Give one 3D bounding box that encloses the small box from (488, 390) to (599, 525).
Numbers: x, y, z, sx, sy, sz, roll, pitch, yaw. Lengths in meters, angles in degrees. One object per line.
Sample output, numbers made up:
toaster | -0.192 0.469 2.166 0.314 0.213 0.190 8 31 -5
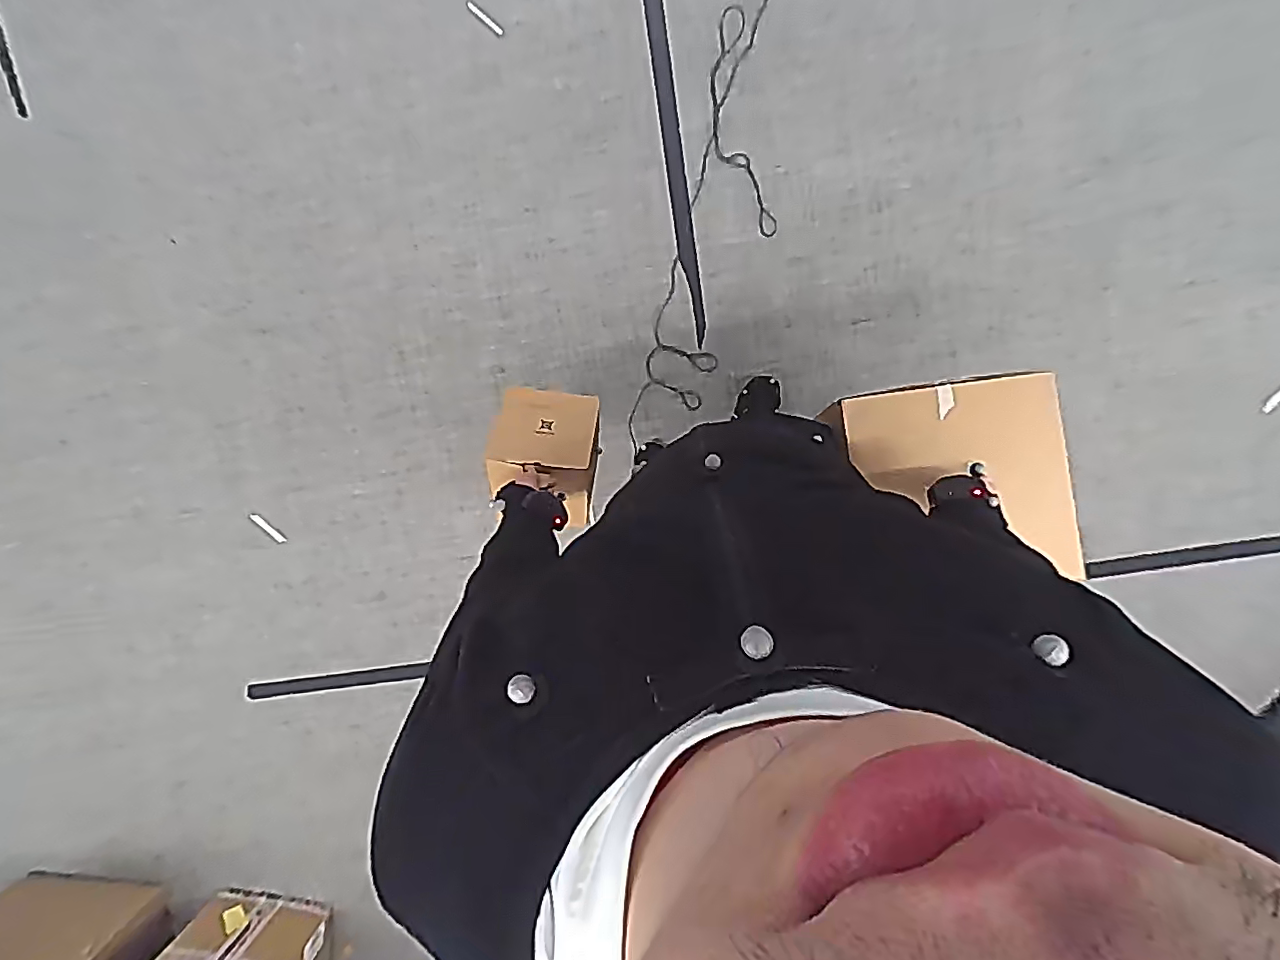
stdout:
small box | -0.167 -0.037 0.984 0.168 0.179 0.176 6 140 -3
